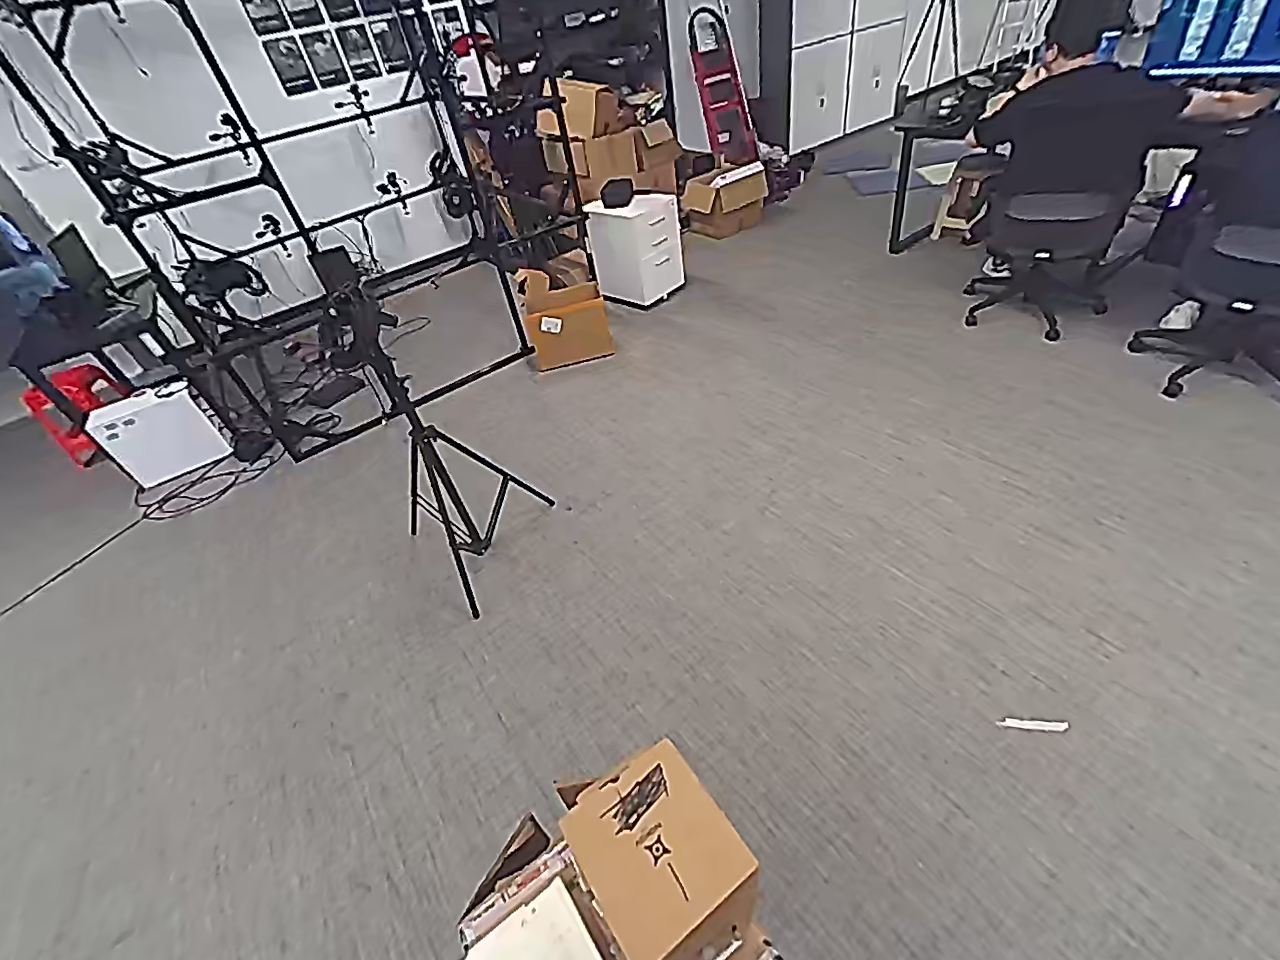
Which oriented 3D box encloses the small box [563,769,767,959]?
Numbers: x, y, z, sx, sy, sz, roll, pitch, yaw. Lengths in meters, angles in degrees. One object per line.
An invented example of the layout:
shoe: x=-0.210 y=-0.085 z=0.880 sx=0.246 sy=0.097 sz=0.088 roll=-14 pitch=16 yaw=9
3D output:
small box: x=0.030 y=0.503 z=0.653 sx=0.168 sy=0.176 sz=0.179 roll=-29 pitch=46 yaw=-21
